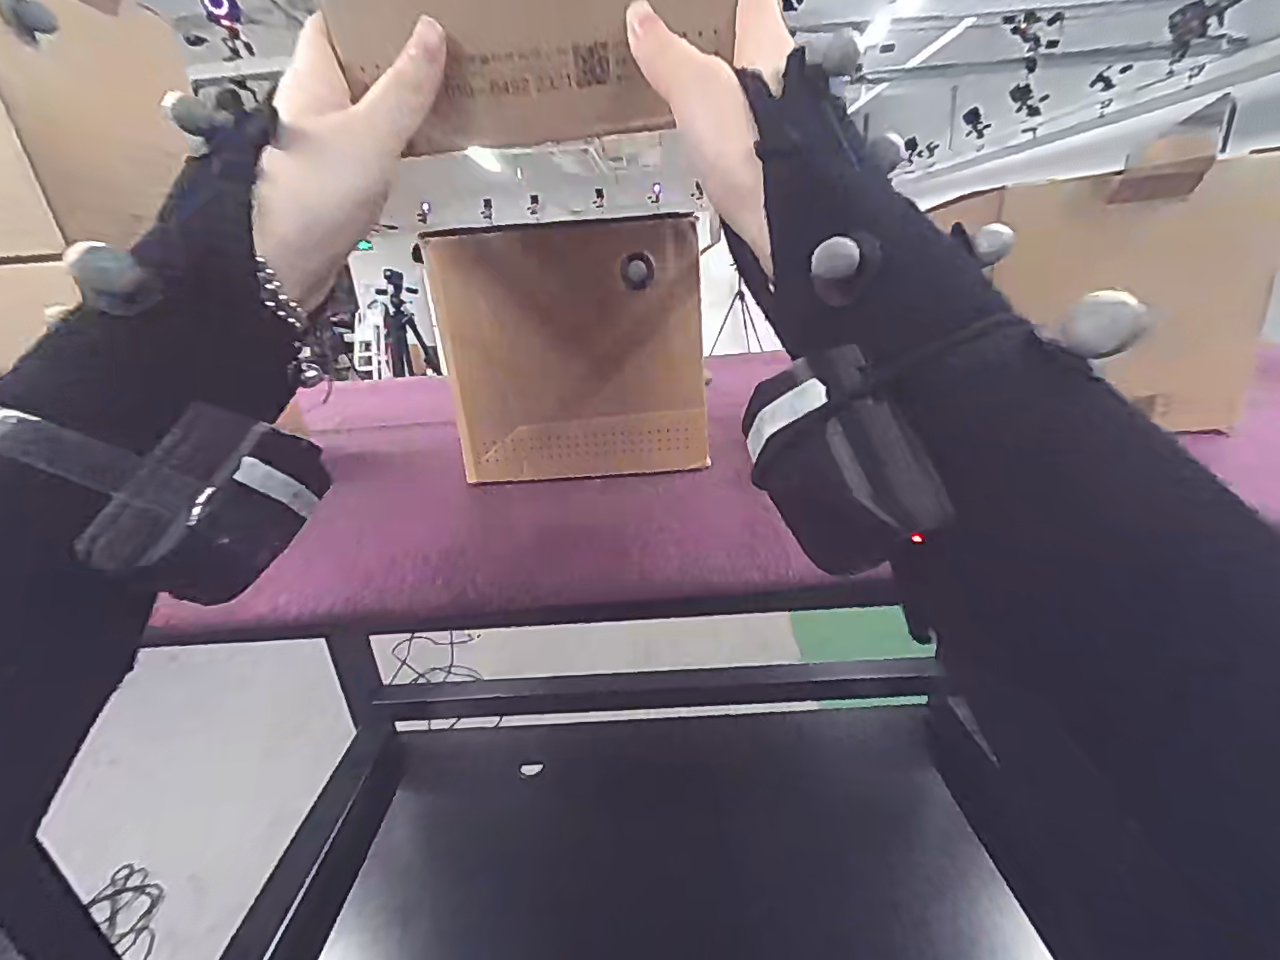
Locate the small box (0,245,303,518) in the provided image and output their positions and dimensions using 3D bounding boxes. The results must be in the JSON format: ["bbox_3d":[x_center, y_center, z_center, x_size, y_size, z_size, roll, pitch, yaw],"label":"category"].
[{"bbox_3d":[-0.406,-0.078,0.412,0.179,0.176,0.168,-4,22,1],"label":"small box"}]

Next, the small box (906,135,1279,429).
[{"bbox_3d":[0.317,-0.137,0.411,0.168,0.176,0.179,-3,19,9],"label":"small box"}]

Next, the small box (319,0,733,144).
[{"bbox_3d":[-0.050,-0.263,0.251,0.168,0.176,0.179,-5,33,1],"label":"small box"}]

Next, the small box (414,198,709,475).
[{"bbox_3d":[-0.044,-0.107,0.422,0.179,0.176,0.168,-4,20,2],"label":"small box"}]
